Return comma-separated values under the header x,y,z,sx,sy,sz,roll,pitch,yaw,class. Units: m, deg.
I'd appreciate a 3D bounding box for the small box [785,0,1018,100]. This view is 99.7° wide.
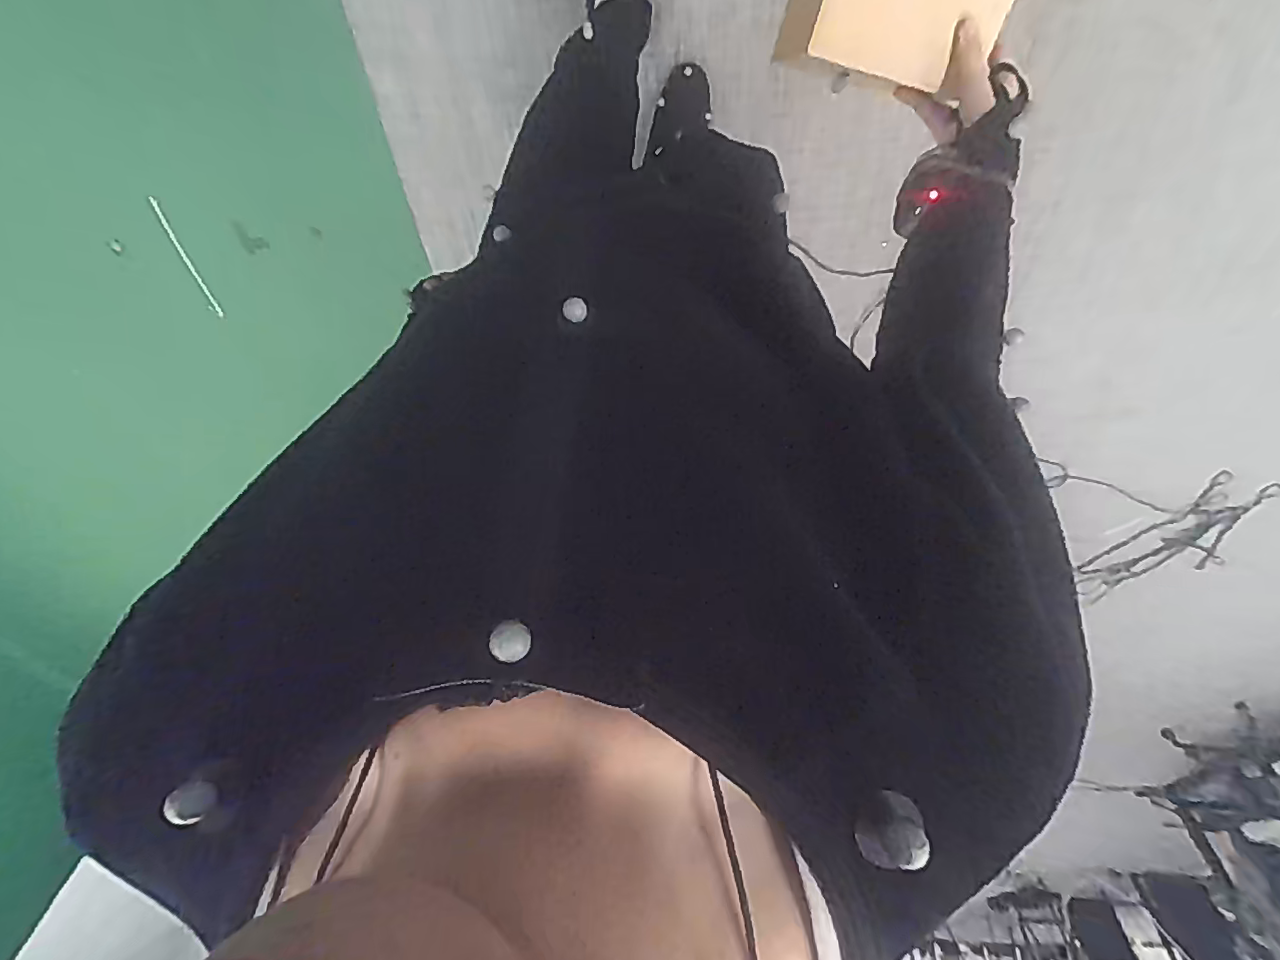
x,y,z,sx,sy,sz,roll,pitch,yaw,class
0.252,-0.486,0.516,0.168,0.176,0.179,11,123,-7,small box

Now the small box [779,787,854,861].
x,y,z,sx,sy,sz,roll,pitch,yaw,class
0.579,1.143,1.799,0.179,0.176,0.168,11,132,-4,small box

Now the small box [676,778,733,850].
x,y,z,sx,sy,sz,roll,pitch,yaw,class
0.209,1.113,1.802,0.179,0.176,0.168,0,131,3,small box
